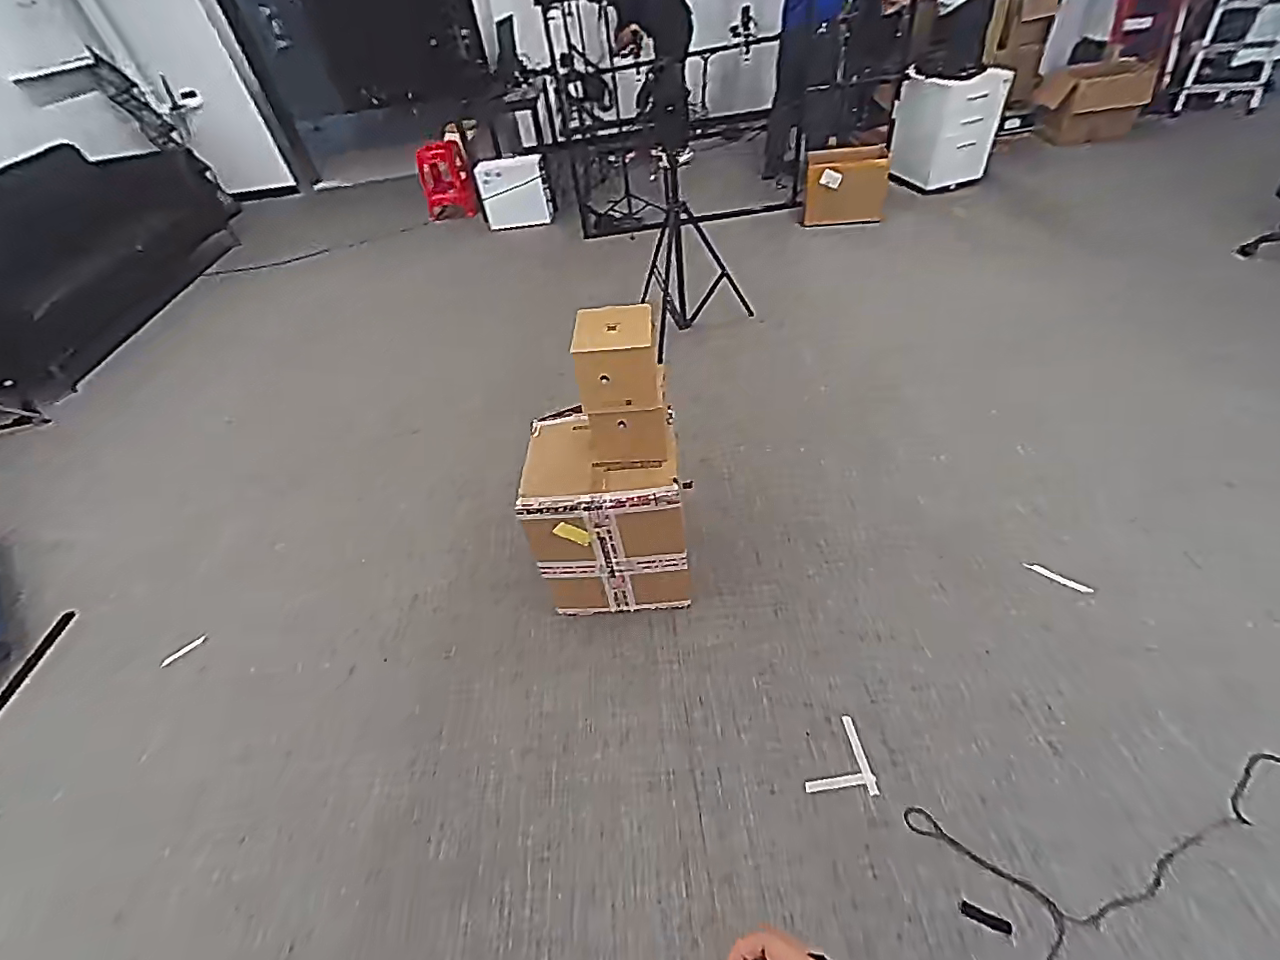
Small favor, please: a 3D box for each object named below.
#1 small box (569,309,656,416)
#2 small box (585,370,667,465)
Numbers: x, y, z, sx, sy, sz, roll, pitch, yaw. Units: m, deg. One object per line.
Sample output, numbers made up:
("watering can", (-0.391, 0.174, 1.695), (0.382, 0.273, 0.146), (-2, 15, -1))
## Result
("small box", (-0.055, -0.254, 1.203), (0.168, 0.176, 0.179), (-4, 45, 4))
("small box", (-0.027, -0.148, 1.323), (0.179, 0.176, 0.168), (-2, 47, 6))
